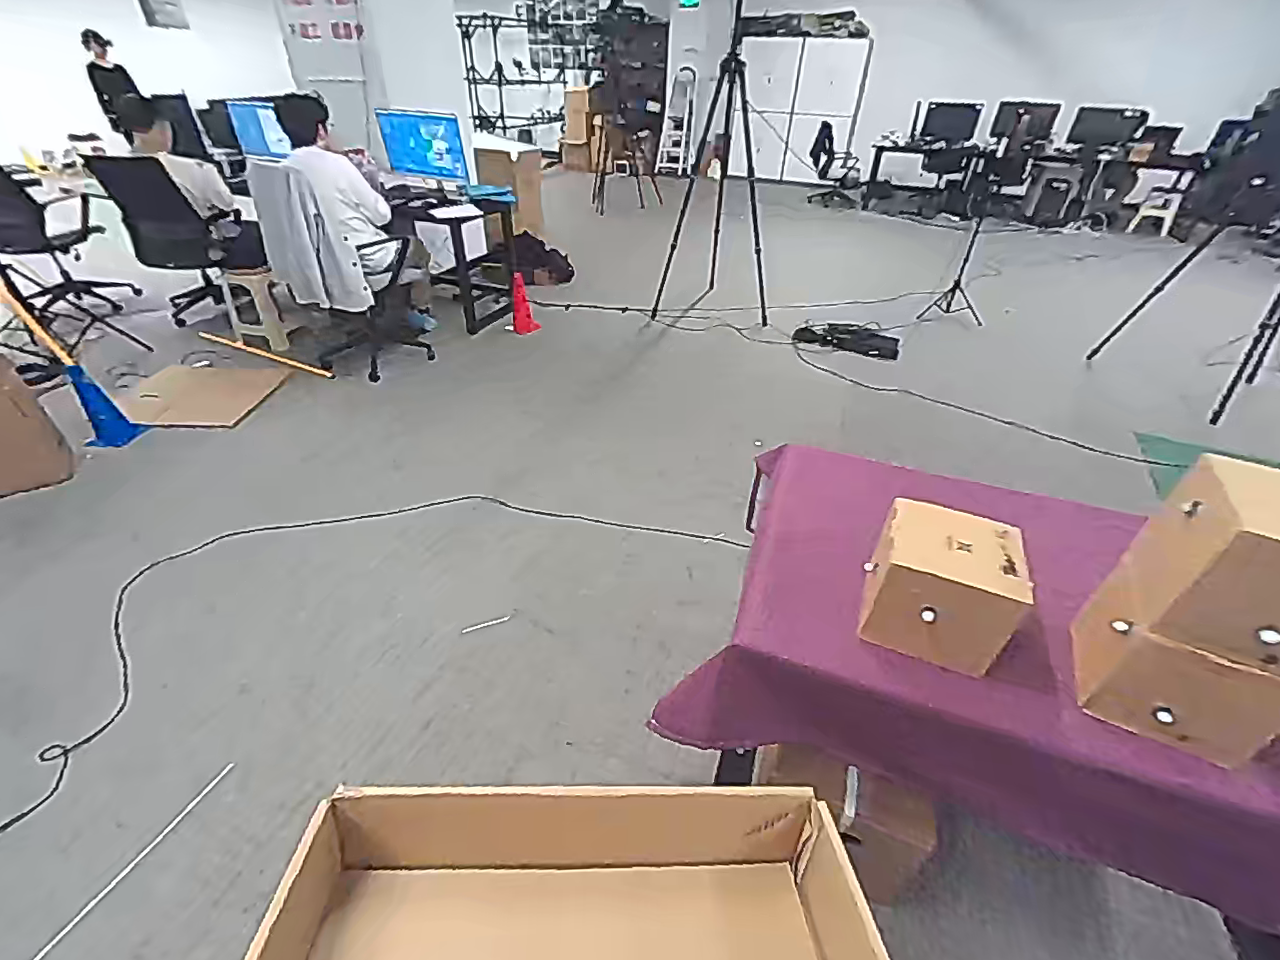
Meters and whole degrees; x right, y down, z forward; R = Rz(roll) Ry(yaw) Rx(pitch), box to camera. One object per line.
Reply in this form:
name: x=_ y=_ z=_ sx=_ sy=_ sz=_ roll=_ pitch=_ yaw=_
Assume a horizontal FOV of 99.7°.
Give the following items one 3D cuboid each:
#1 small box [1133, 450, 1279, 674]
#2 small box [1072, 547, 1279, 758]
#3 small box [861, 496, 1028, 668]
small box: x=0.730 y=0.095 z=0.639 sx=0.168 sy=0.176 sz=0.179 roll=20 pitch=42 yaw=23
small box: x=0.723 y=0.230 z=0.735 sx=0.168 sy=0.176 sz=0.179 roll=19 pitch=42 yaw=22
small box: x=0.449 y=0.154 z=0.822 sx=0.179 sy=0.176 sz=0.168 roll=15 pitch=40 yaw=19
